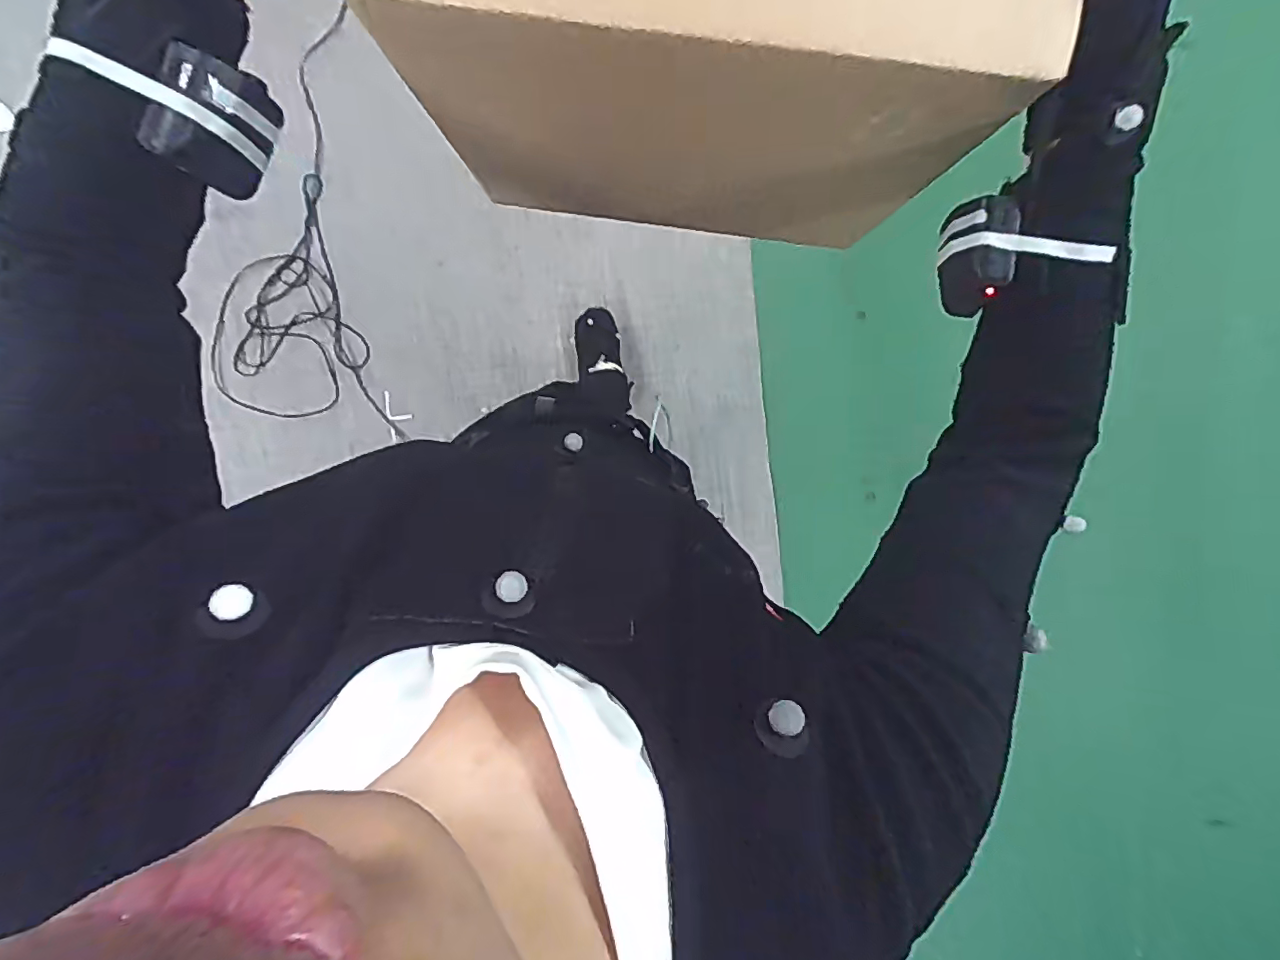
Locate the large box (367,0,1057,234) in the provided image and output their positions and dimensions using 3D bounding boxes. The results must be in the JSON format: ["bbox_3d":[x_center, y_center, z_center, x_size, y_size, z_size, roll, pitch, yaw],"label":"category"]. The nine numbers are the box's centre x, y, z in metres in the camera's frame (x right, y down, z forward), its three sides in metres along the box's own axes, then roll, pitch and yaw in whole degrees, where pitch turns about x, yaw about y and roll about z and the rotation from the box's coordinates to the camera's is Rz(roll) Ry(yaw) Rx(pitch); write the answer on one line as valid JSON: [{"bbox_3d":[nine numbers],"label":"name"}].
[{"bbox_3d":[0.047,-0.422,0.434,0.408,0.320,0.320,6,98,-1],"label":"large box"}]
